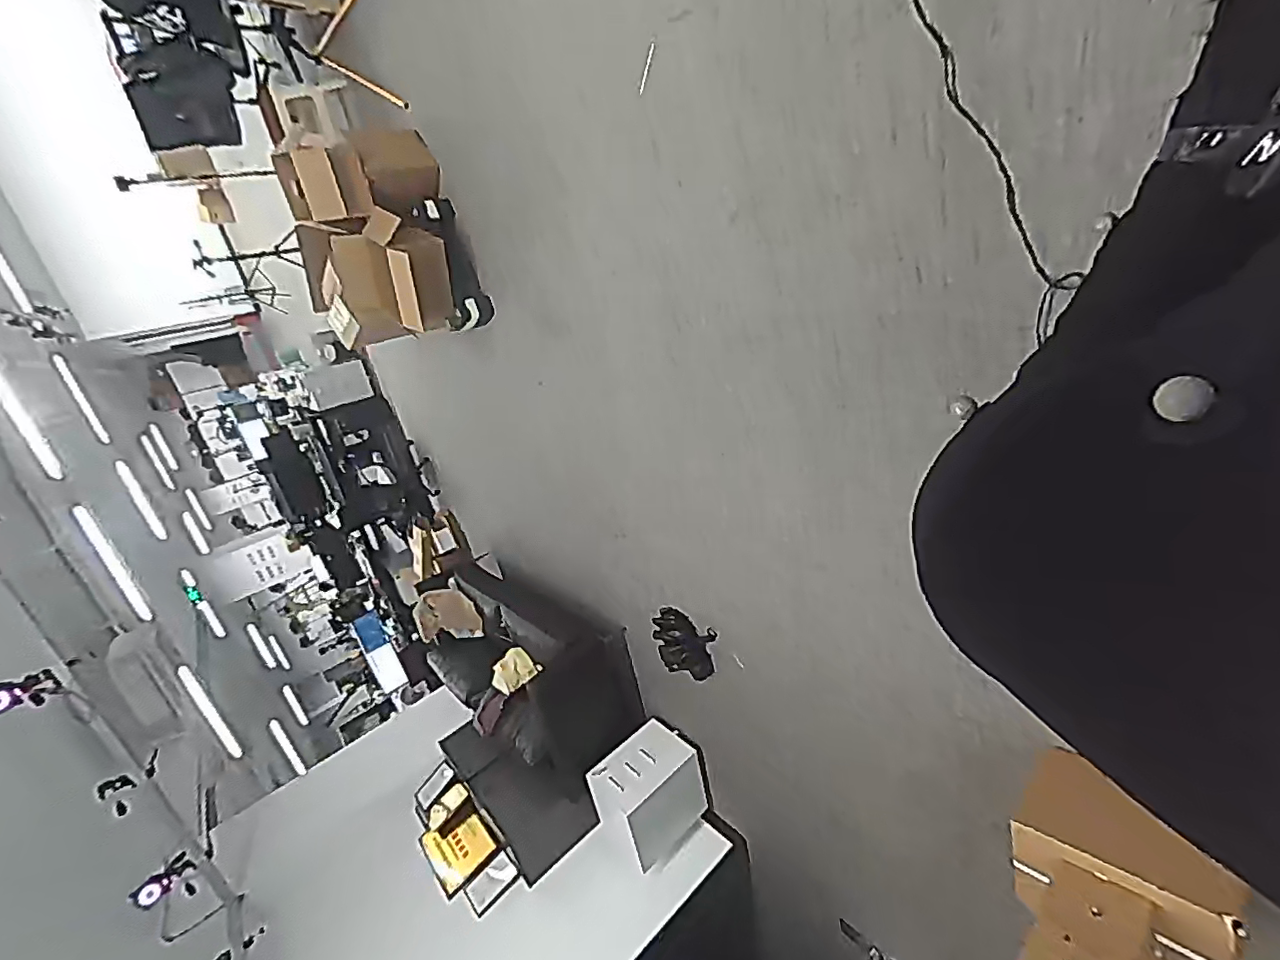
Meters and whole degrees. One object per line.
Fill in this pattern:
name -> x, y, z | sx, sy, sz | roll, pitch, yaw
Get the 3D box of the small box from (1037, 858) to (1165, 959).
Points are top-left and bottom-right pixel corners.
small box -> 1.060, 1.023, 1.245 | 0.179, 0.176, 0.168 | -5, 109, 56

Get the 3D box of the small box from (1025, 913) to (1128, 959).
small box -> 0.943, 1.093, 1.154 | 0.168, 0.176, 0.179 | -2, 111, 54
